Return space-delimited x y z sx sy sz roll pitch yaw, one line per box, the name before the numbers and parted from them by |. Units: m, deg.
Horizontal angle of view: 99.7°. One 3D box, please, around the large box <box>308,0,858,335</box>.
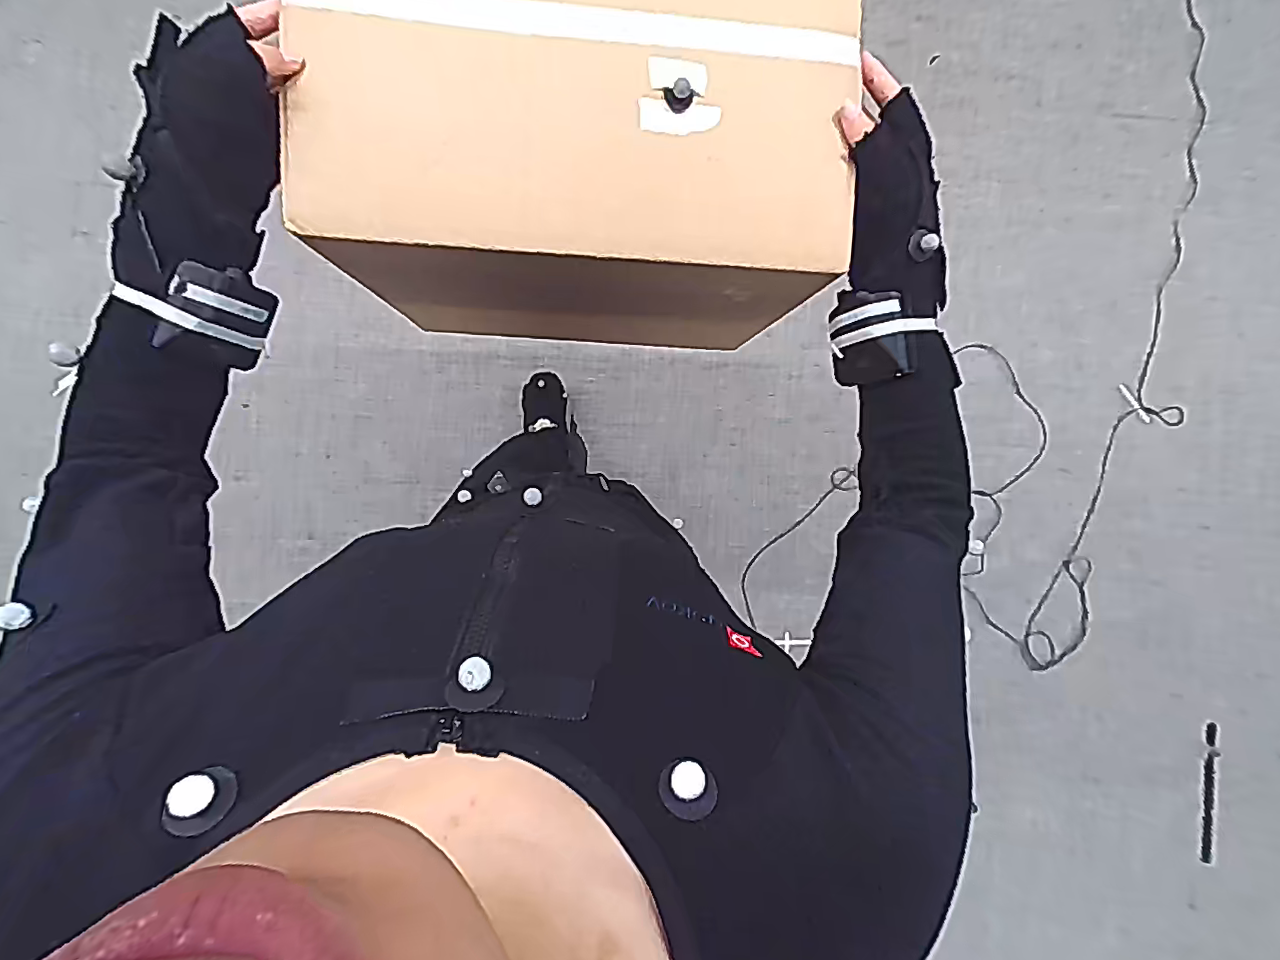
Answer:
large box | -0.049 -0.337 0.542 0.408 0.320 0.320 1 93 -6
